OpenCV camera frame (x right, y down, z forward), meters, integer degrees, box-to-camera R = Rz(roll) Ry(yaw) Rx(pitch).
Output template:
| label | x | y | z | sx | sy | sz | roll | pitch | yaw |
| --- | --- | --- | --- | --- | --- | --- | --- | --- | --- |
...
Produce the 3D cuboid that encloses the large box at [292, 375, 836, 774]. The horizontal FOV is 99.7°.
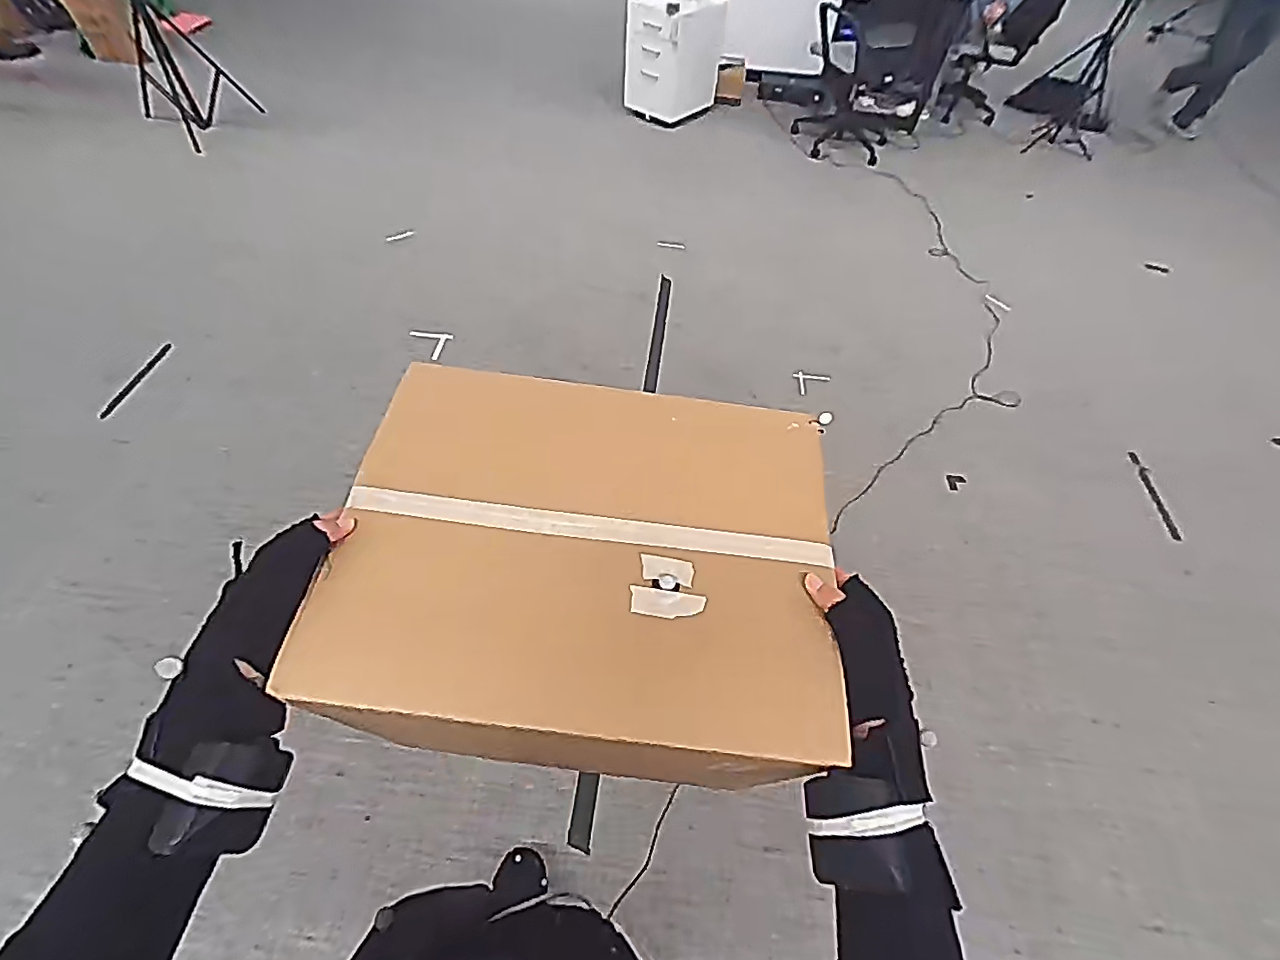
| label | x | y | z | sx | sy | sz | roll | pitch | yaw |
| --- | --- | --- | --- | --- | --- | --- | --- | --- | --- |
| large box | -0.054 | 0.122 | 0.592 | 0.408 | 0.320 | 0.320 | 7 | 59 | -1 |
